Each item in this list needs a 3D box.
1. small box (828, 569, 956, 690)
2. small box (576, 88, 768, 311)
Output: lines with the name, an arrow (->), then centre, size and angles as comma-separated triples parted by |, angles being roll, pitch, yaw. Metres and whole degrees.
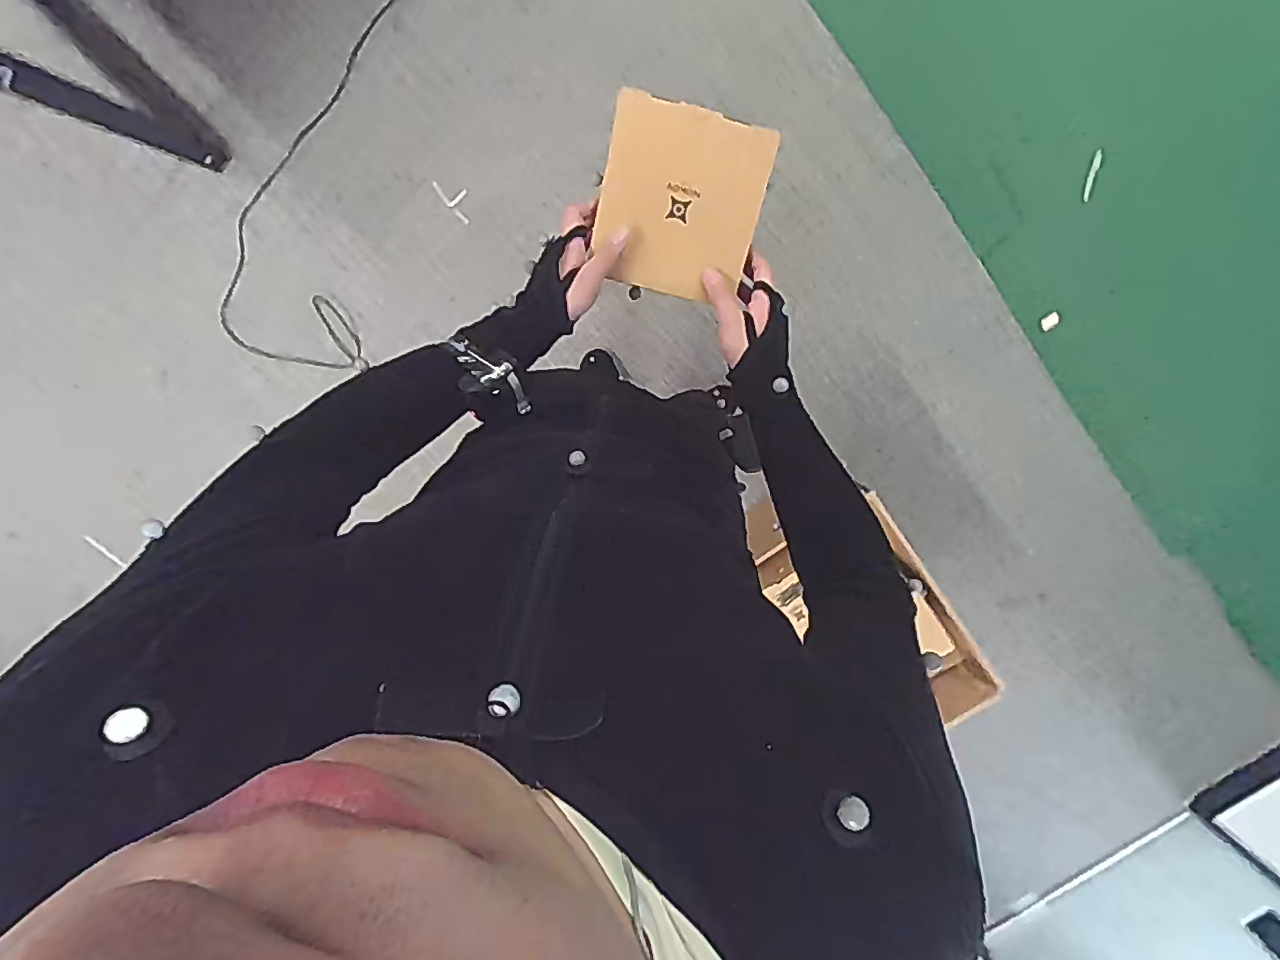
small box -> 0.553, 0.322, 1.212 | 0.168, 0.176, 0.179 | -35, 102, 10
small box -> 0.027, -0.304, 0.623 | 0.168, 0.176, 0.179 | 11, 108, -7
